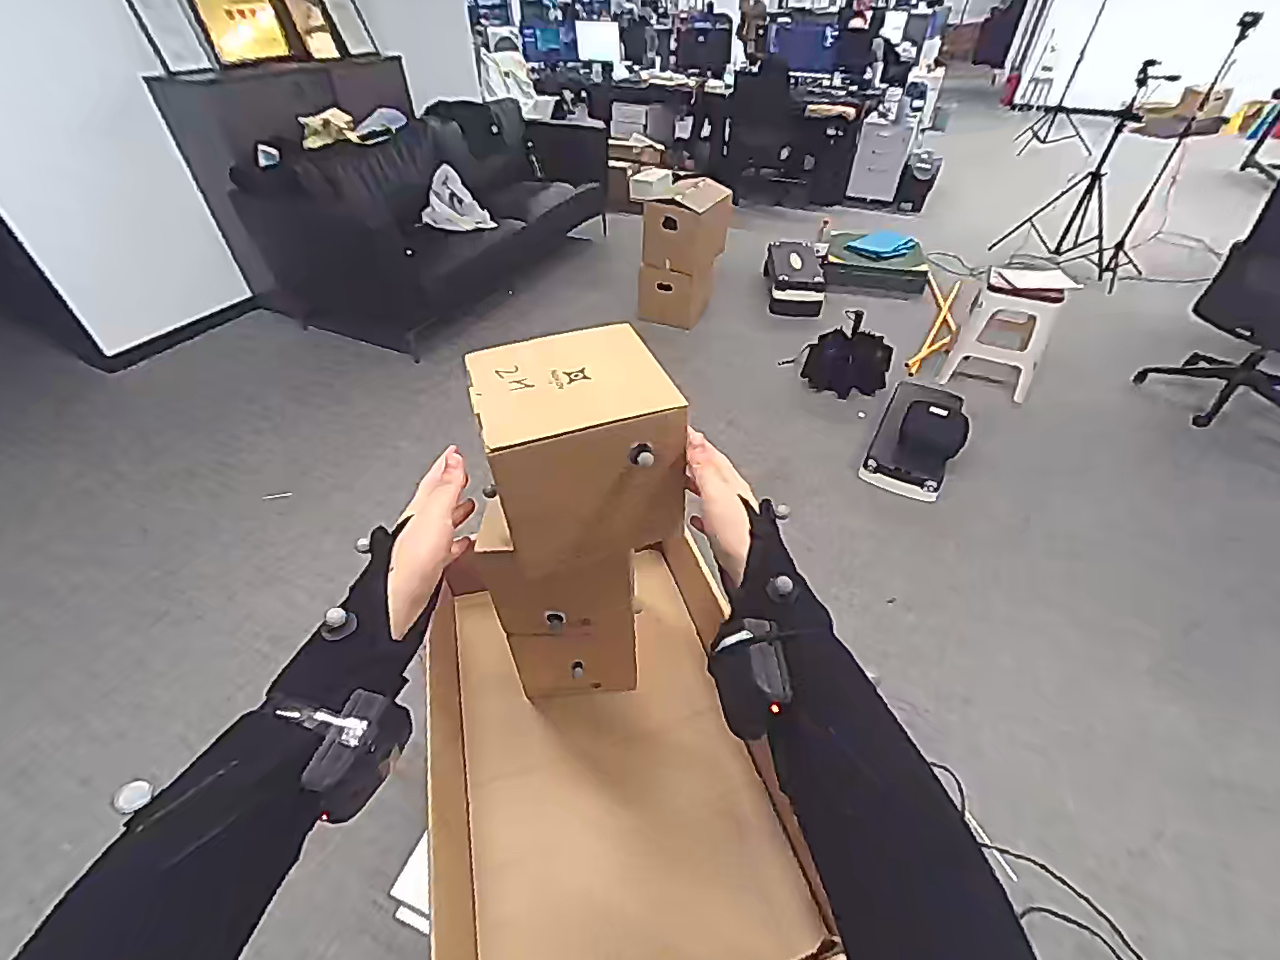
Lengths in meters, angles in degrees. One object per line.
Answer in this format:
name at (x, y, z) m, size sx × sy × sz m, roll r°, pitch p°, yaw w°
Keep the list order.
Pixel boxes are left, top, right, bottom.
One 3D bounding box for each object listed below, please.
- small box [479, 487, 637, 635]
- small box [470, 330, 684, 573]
small box at (-0.091, 0.077, 0.695) m, size 0.168 × 0.176 × 0.179 m, roll -3°, pitch 43°, yaw 1°
small box at (-0.065, -0.032, 0.567) m, size 0.179 × 0.176 × 0.168 m, roll -15°, pitch 43°, yaw -12°
